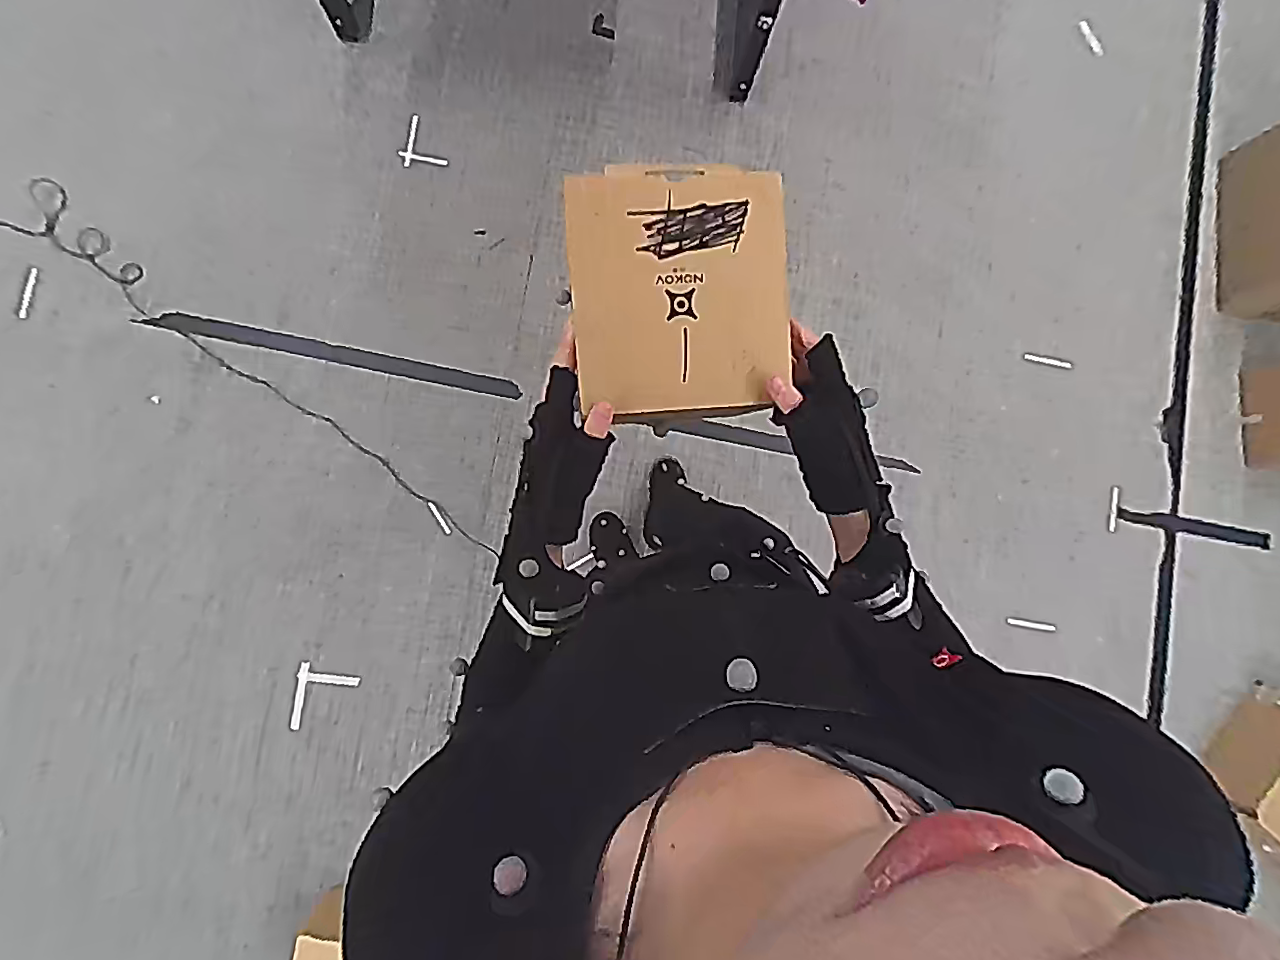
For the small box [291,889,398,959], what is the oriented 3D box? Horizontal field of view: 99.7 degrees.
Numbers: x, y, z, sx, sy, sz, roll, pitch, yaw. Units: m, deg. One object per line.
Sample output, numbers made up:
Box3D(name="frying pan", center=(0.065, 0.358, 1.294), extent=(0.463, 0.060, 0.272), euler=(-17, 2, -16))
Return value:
Box3D(name="small box", center=(-0.725, 1.145, 1.319), extent=(0.179, 0.176, 0.168), euler=(13, 85, -3))
